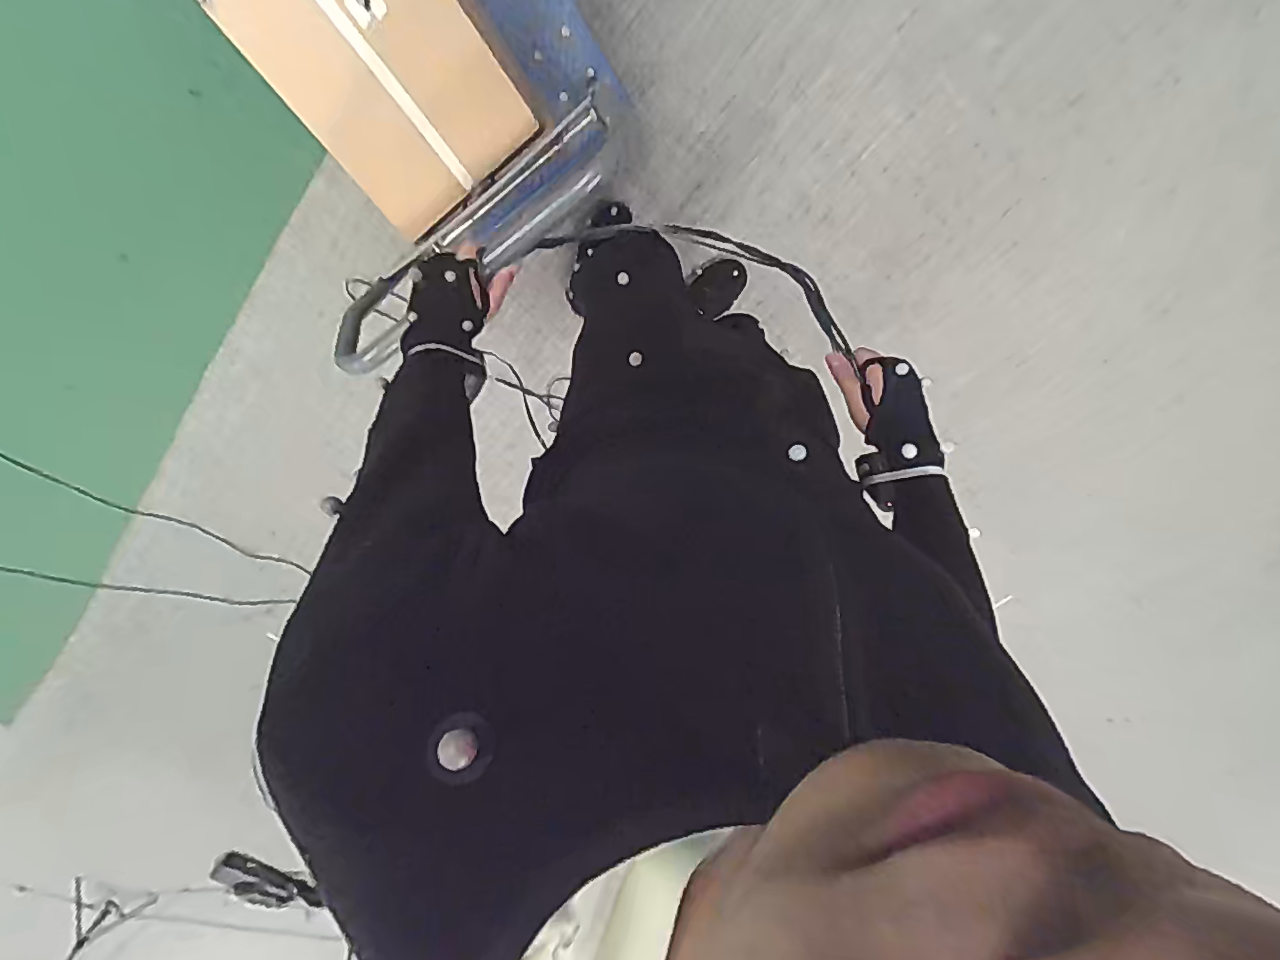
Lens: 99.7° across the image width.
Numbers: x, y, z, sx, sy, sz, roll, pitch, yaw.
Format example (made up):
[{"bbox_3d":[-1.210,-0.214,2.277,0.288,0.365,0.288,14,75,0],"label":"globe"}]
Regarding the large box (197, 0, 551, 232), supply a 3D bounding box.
[{"bbox_3d":[-0.413,-0.728,0.954,0.320,0.320,0.408,-31,119,17],"label":"large box"}]
